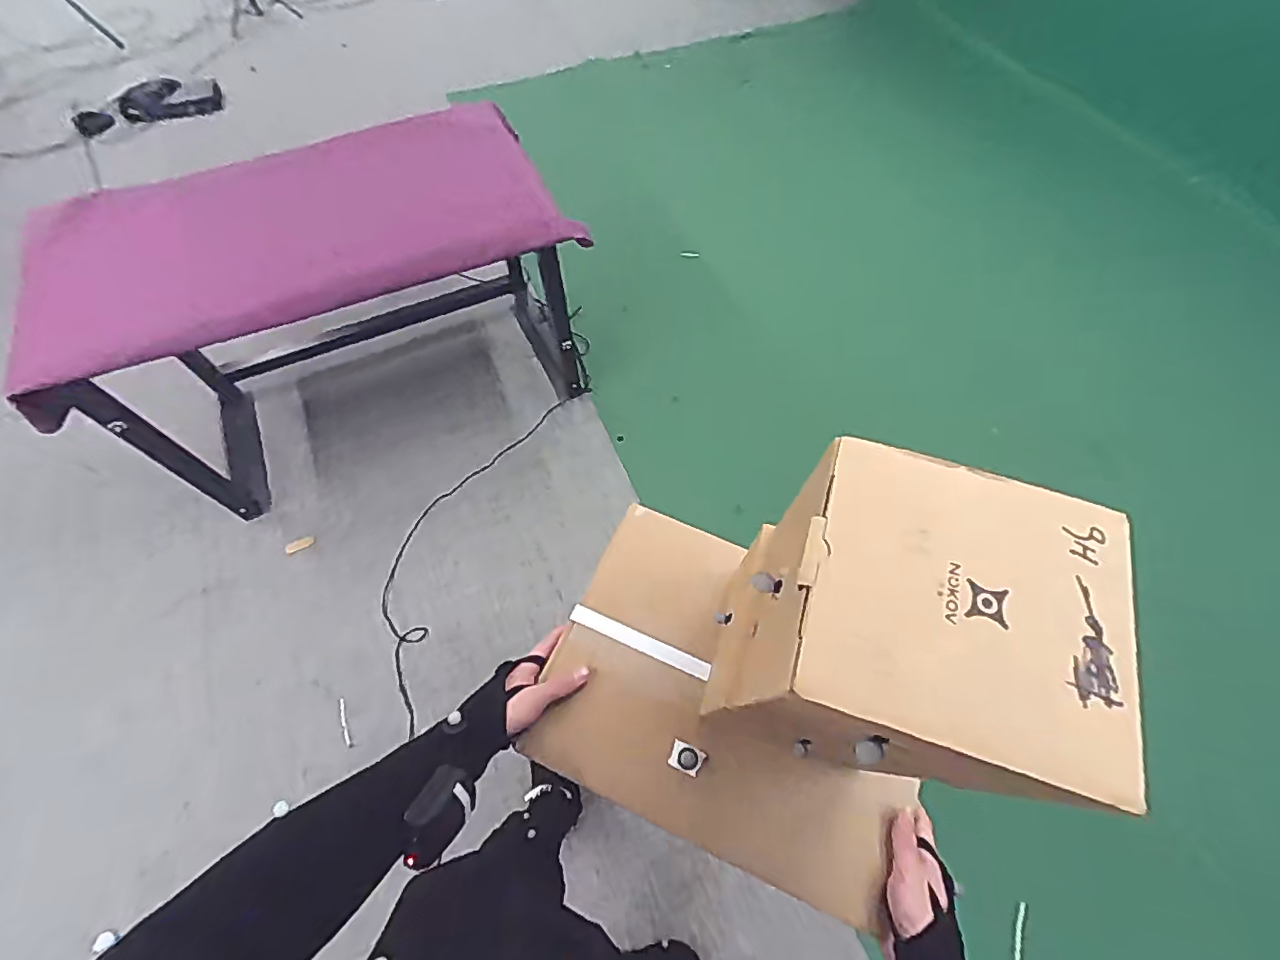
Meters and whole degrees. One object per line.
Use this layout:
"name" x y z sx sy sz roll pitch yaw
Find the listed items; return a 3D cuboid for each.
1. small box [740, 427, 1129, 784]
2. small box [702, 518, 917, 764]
"small box" 0.179 0.093 0.378 0.179 0.176 0.168 16 65 8
"small box" 0.167 0.162 0.526 0.179 0.176 0.168 16 65 7
